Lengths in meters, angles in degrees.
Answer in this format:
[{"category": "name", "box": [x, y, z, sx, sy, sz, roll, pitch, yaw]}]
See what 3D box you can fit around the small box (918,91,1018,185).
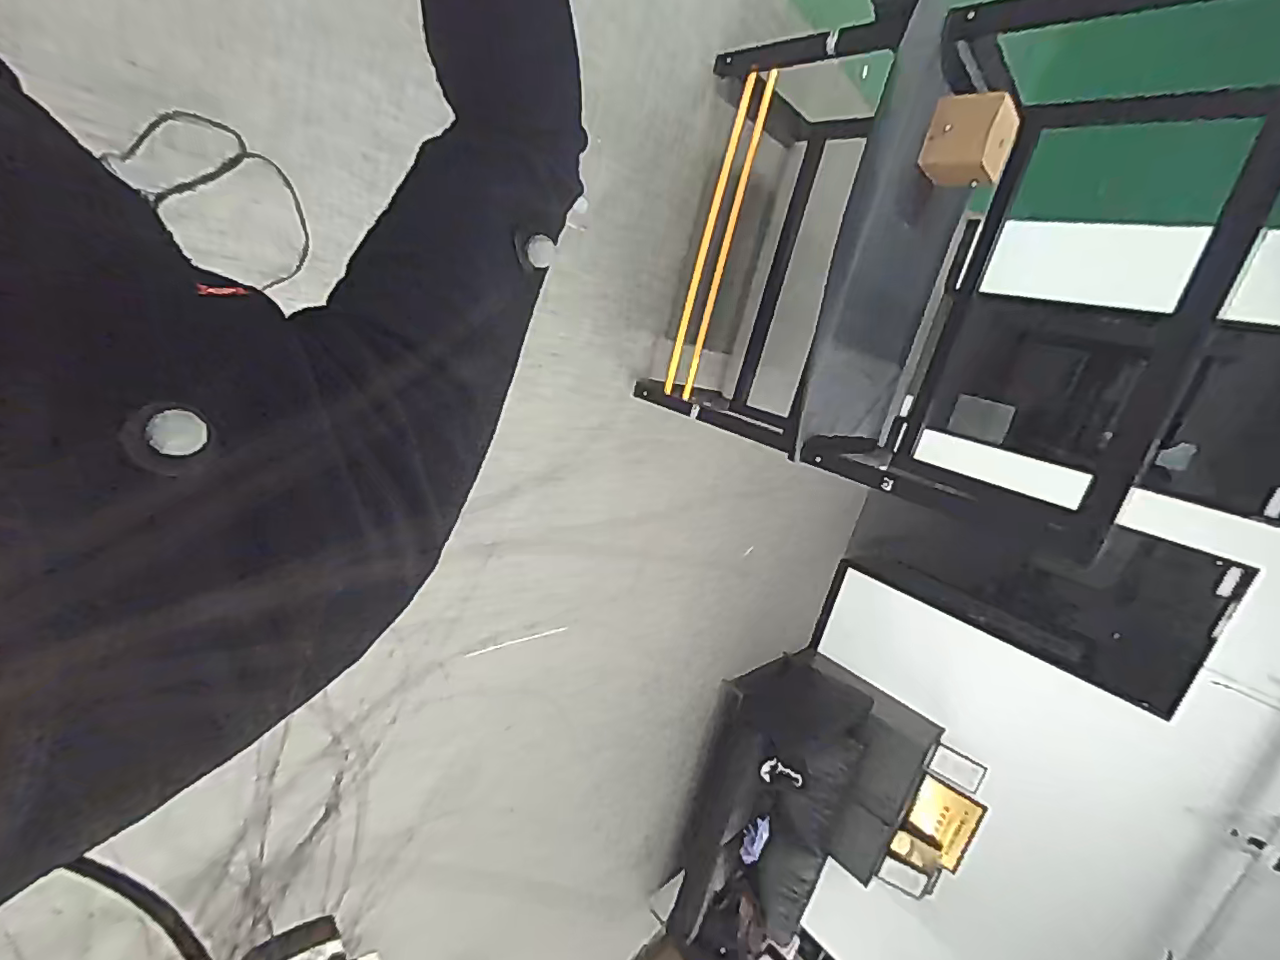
[{"category": "small box", "box": [0.899, -0.933, 1.486, 0.179, 0.176, 0.168, -2, 112, -47]}]
